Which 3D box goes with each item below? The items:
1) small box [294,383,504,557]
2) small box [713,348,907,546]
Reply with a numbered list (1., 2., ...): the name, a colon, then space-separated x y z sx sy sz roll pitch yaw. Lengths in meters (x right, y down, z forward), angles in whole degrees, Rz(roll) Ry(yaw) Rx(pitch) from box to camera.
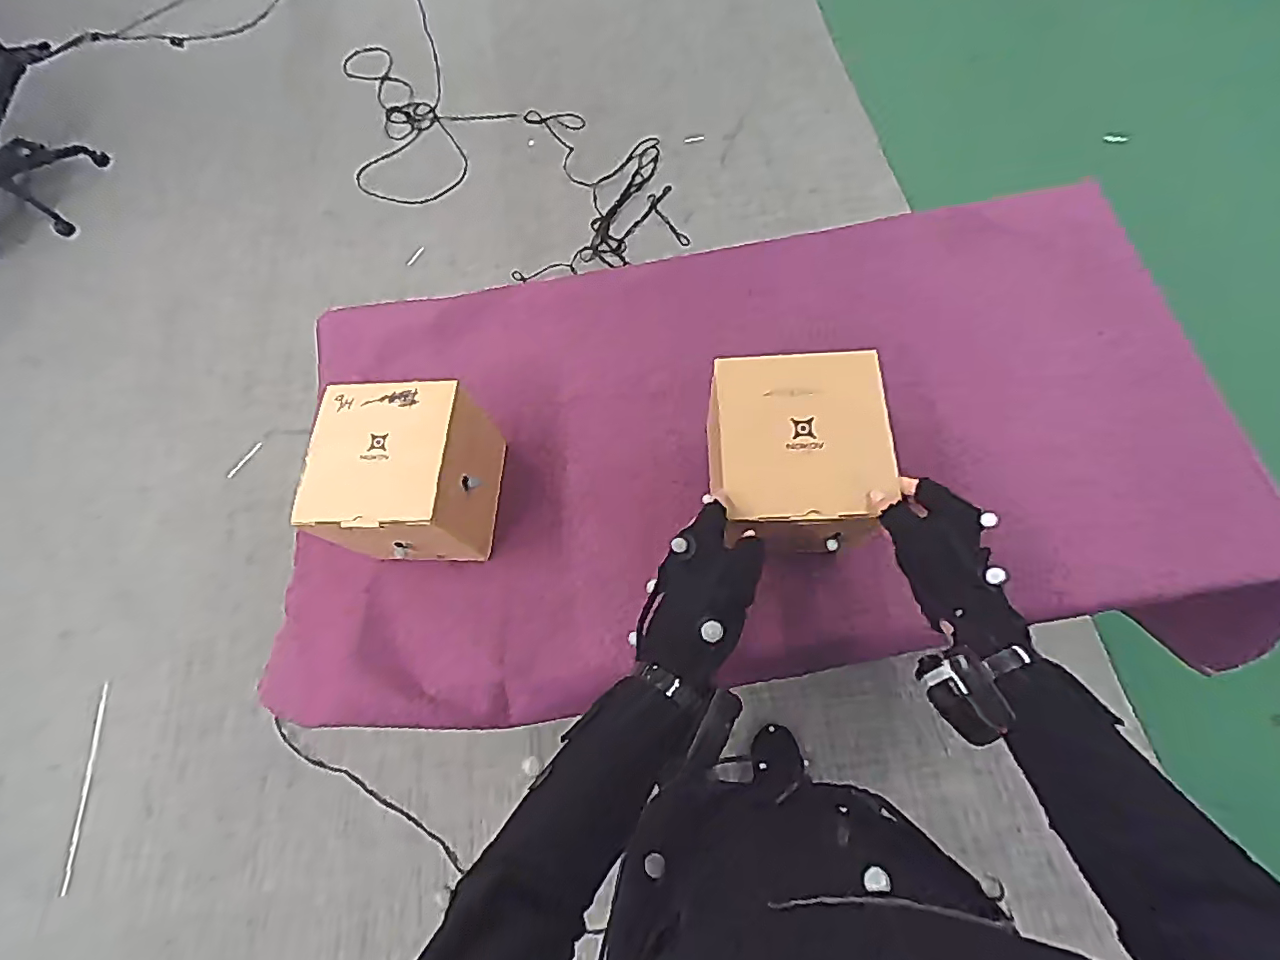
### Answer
1. small box: -0.283 -0.003 0.680 0.168 0.176 0.179 0 69 7
2. small box: 0.170 -0.024 0.600 0.168 0.176 0.179 -2 71 4
